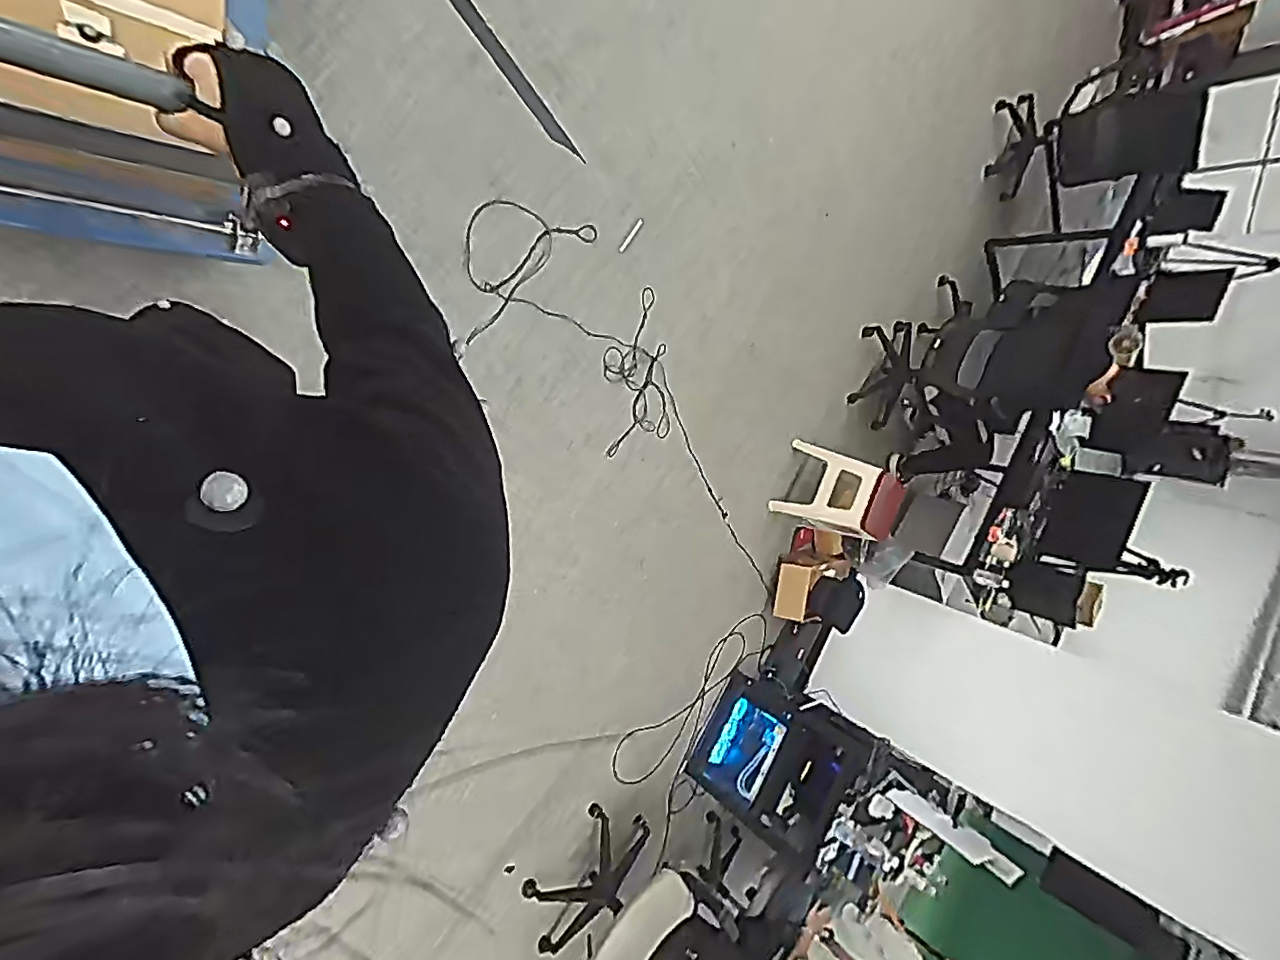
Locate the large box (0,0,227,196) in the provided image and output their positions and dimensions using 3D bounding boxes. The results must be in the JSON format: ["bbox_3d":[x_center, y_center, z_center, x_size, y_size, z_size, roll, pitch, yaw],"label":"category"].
[{"bbox_3d":[-0.819,-0.609,0.705,0.408,0.320,0.320,-5,107,-43],"label":"large box"}]
